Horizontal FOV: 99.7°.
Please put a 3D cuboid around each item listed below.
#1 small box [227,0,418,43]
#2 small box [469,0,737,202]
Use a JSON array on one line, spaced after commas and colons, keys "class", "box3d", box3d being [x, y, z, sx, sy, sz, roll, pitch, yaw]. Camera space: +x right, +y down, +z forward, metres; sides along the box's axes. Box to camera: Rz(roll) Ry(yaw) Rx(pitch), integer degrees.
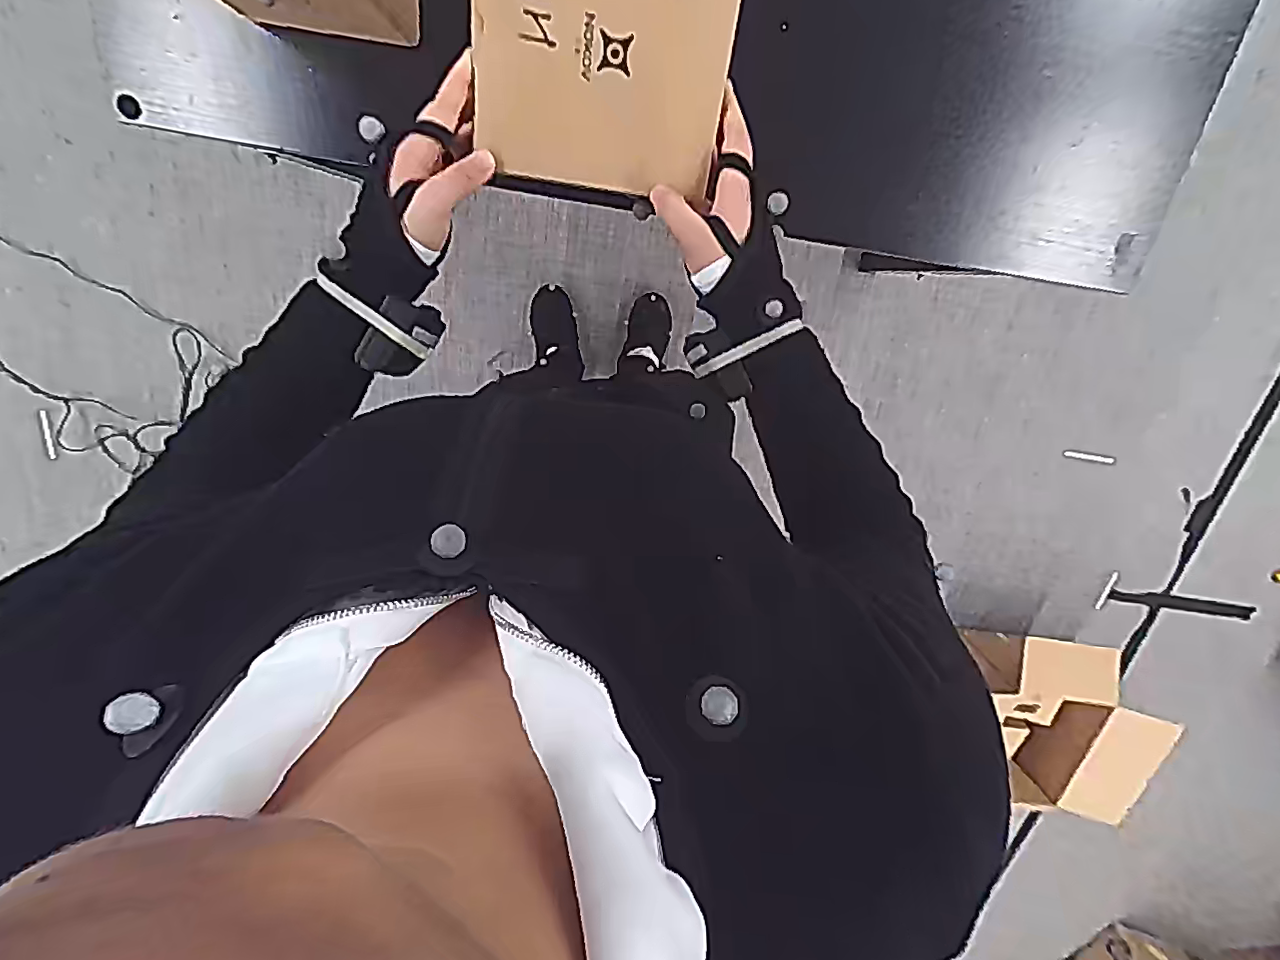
[{"class": "small box", "box3d": [-0.310, -0.514, 0.465, 0.179, 0.176, 0.168, 5, 111, -4]}, {"class": "small box", "box3d": [-0.031, -0.332, 0.435, 0.179, 0.176, 0.168, 6, 117, -6]}]
